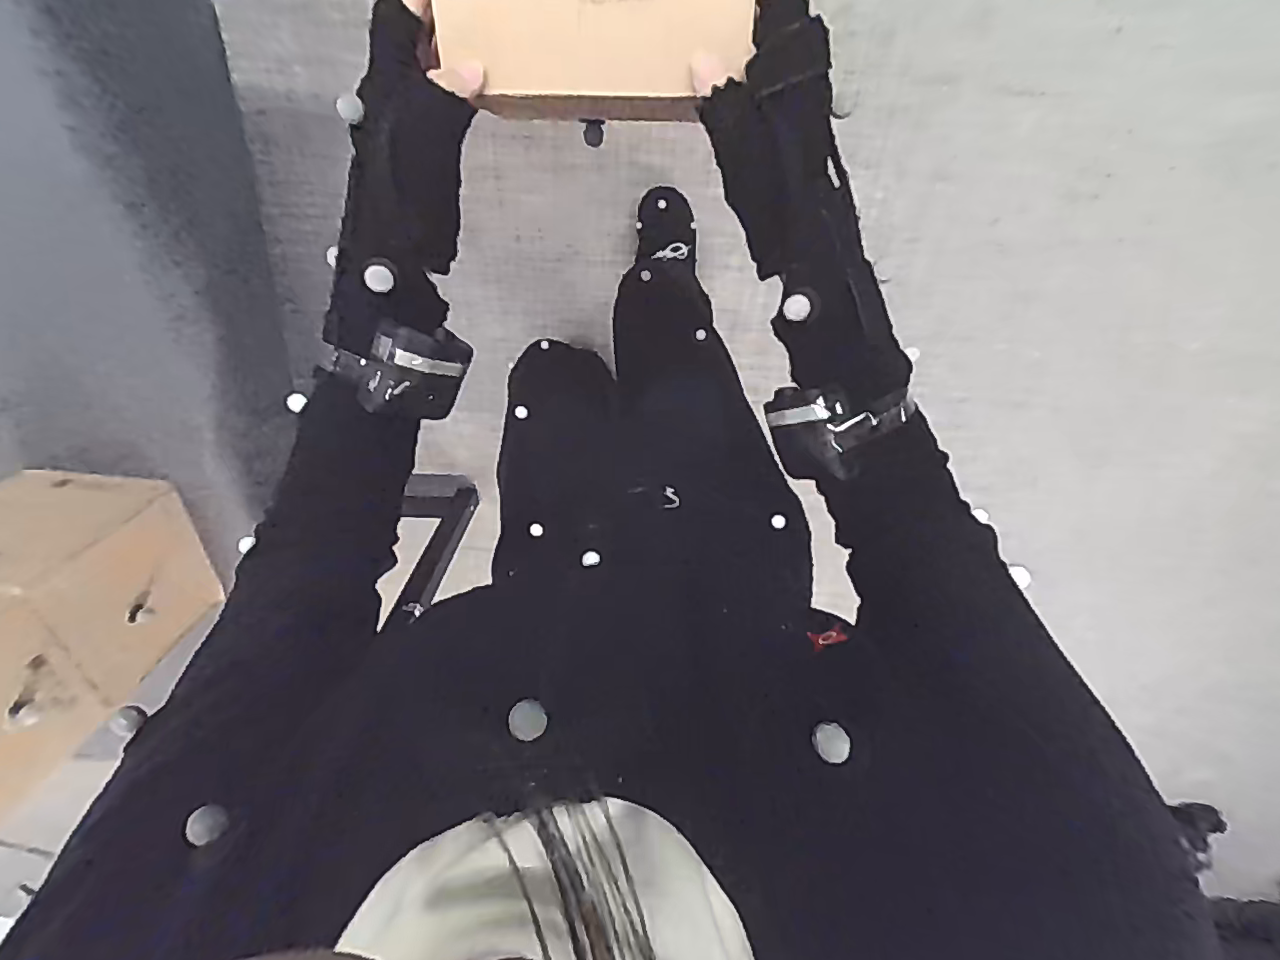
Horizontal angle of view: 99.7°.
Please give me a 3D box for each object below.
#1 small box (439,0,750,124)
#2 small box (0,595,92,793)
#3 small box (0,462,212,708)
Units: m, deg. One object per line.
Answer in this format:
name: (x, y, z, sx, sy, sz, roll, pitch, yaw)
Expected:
small box: (-0.023, -0.329, 0.329, 0.168, 0.176, 0.179, 1, 121, 0)
small box: (-0.619, 0.195, 0.425, 0.179, 0.176, 0.168, 5, 123, 0)
small box: (-0.602, 0.104, 0.562, 0.168, 0.176, 0.179, 6, 123, 0)
